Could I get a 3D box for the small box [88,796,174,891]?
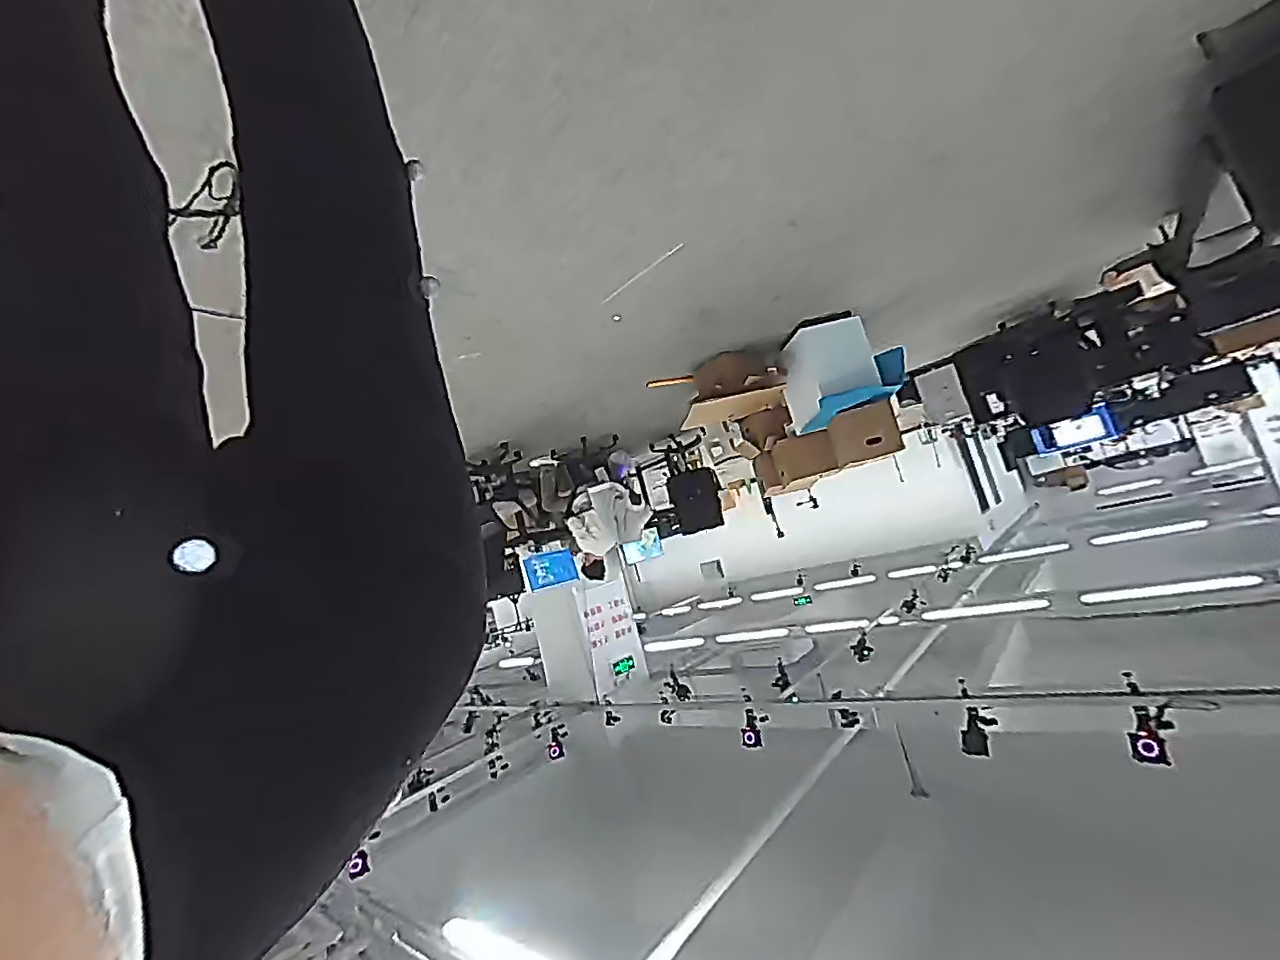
[{"bbox_3d":[-1.514,1.065,1.608,0.179,0.176,0.168,-21,171,42],"label":"small box"}]
